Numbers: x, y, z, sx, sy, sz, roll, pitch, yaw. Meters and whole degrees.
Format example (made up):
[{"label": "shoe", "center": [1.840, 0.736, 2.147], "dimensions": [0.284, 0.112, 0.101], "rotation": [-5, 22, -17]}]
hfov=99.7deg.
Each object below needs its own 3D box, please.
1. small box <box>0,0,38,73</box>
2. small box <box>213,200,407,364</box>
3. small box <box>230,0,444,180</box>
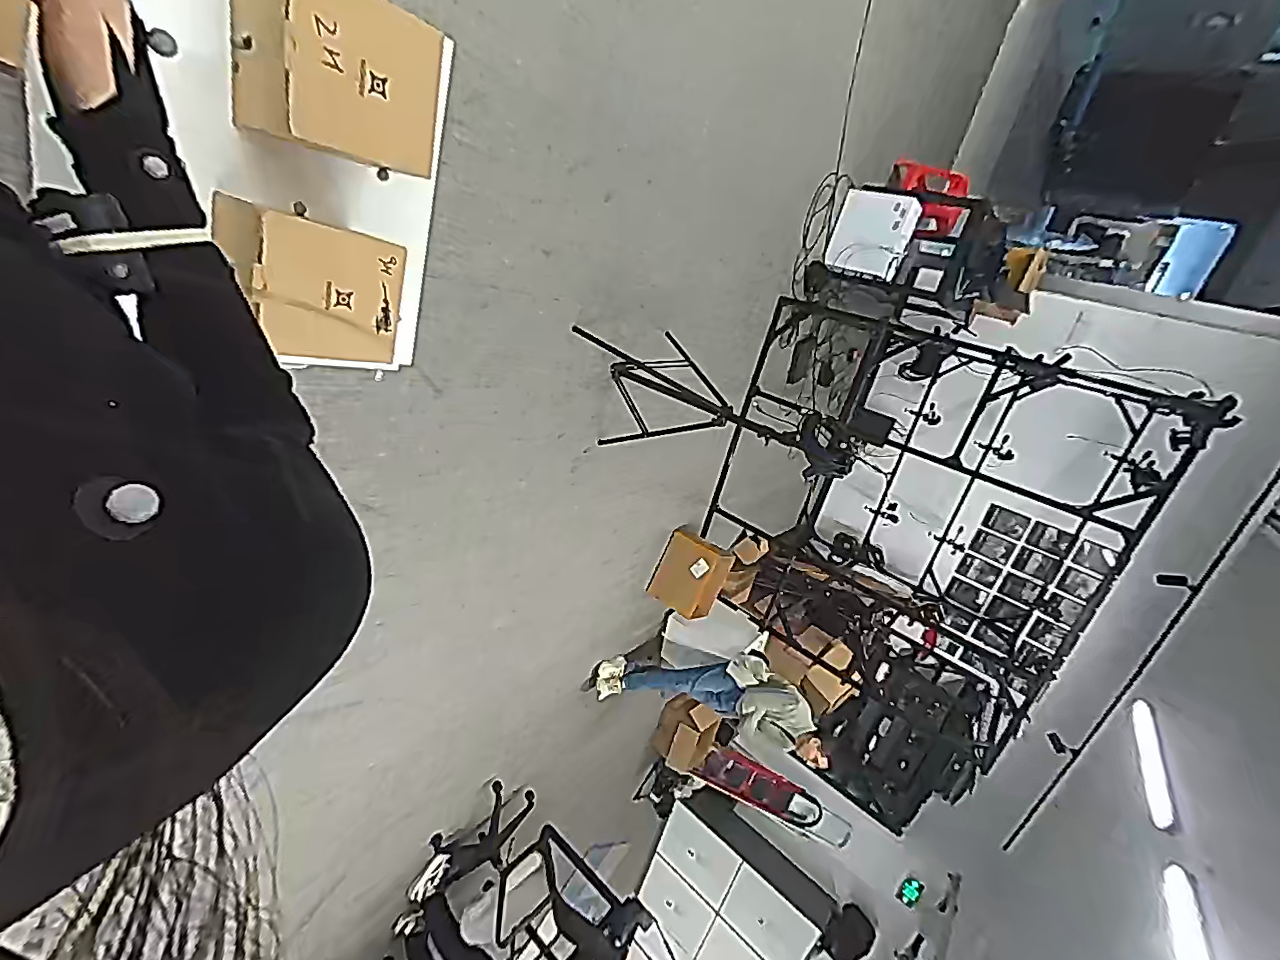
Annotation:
[{"label": "small box", "center": [-0.372, -0.317, 0.230], "dimensions": [0.168, 0.176, 0.179], "rotation": [8, 108, -51]}, {"label": "small box", "center": [-0.452, -0.267, 0.737], "dimensions": [0.179, 0.176, 0.168], "rotation": [-7, 118, -52]}, {"label": "small box", "center": [-0.375, -0.495, 0.670], "dimensions": [0.179, 0.176, 0.168], "rotation": [-13, 124, -51]}]
